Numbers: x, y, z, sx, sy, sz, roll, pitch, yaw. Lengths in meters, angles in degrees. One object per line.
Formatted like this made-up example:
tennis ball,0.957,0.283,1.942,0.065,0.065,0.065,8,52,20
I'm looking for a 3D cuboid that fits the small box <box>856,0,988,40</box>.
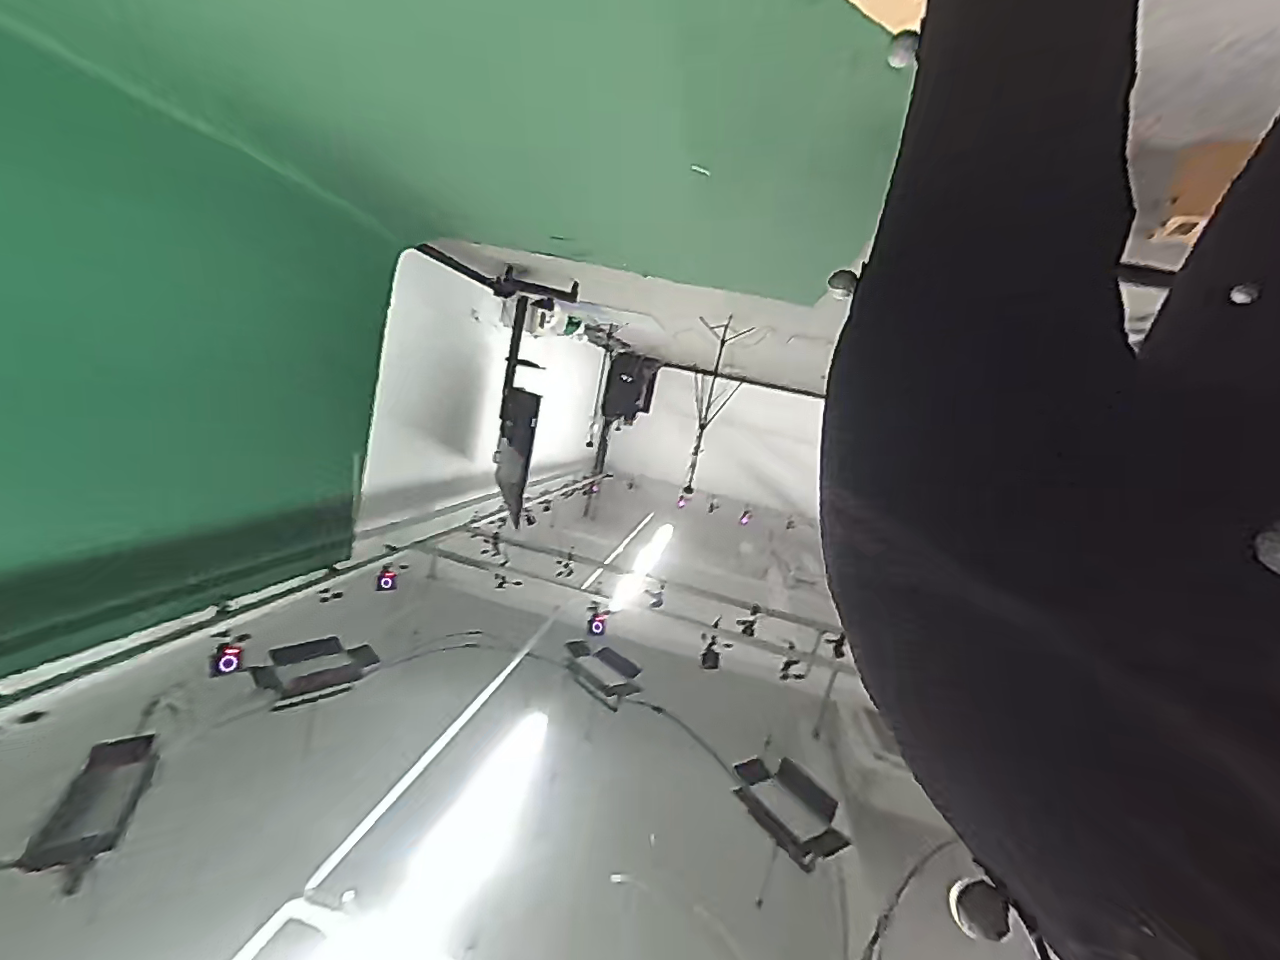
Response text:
small box,0.443,-0.816,0.796,0.179,0.176,0.168,7,-170,-26
